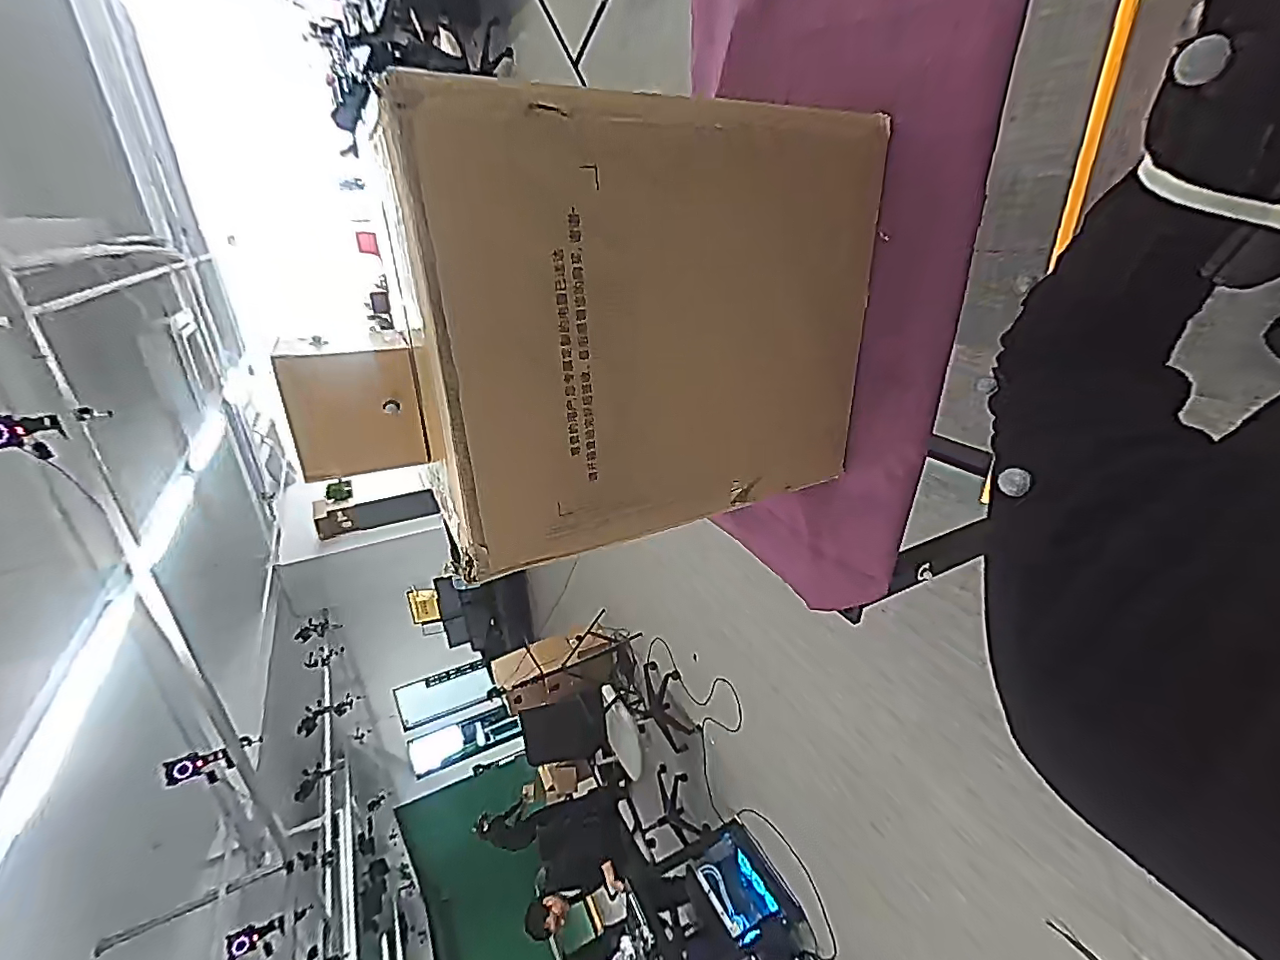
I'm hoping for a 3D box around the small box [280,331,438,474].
[{"bbox_3d":[-0.412,-0.118,0.808,0.168,0.176,0.179,39,136,54],"label":"small box"}]
